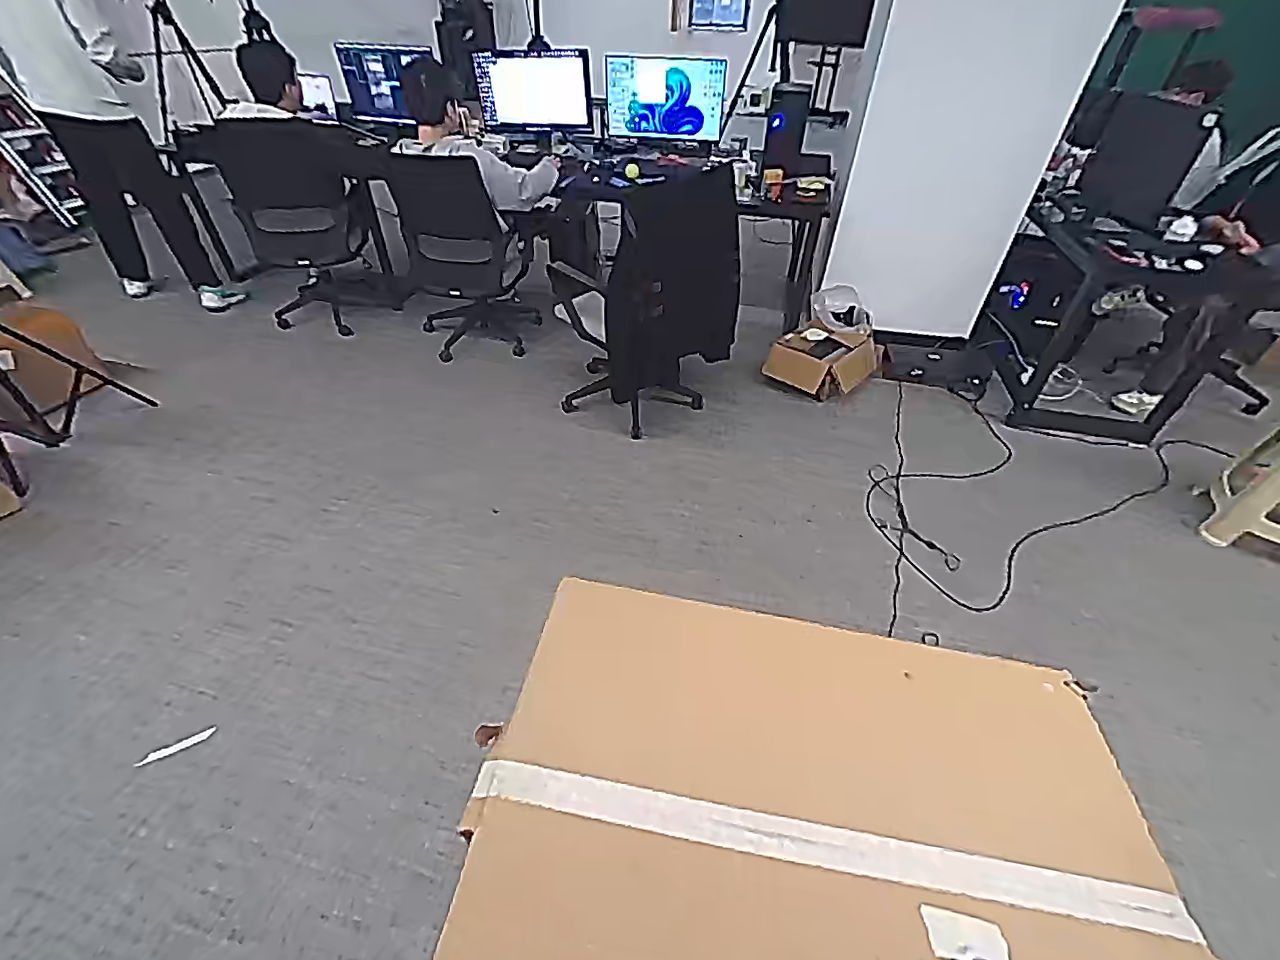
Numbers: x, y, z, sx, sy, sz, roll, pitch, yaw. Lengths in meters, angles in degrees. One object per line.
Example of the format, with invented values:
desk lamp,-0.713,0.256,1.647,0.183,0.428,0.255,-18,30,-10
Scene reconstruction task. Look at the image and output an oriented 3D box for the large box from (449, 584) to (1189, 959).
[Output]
large box,0.093,0.326,0.424,0.408,0.320,0.320,11,42,2
